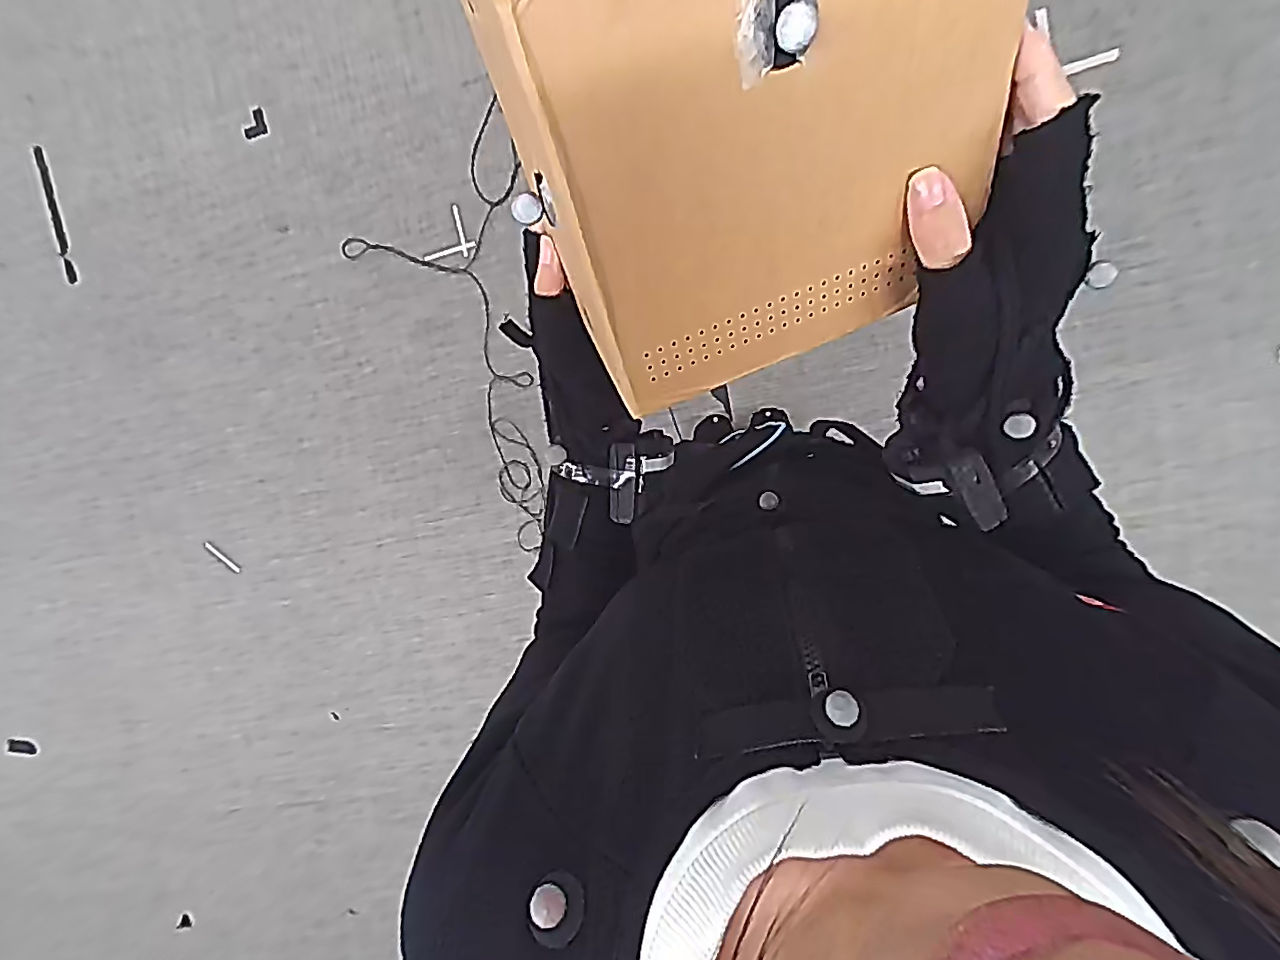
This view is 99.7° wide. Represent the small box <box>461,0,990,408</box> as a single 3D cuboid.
[{"bbox_3d":[0.036,-0.162,0.259,0.179,0.168,0.176,-22,136,-2],"label":"small box"}]
